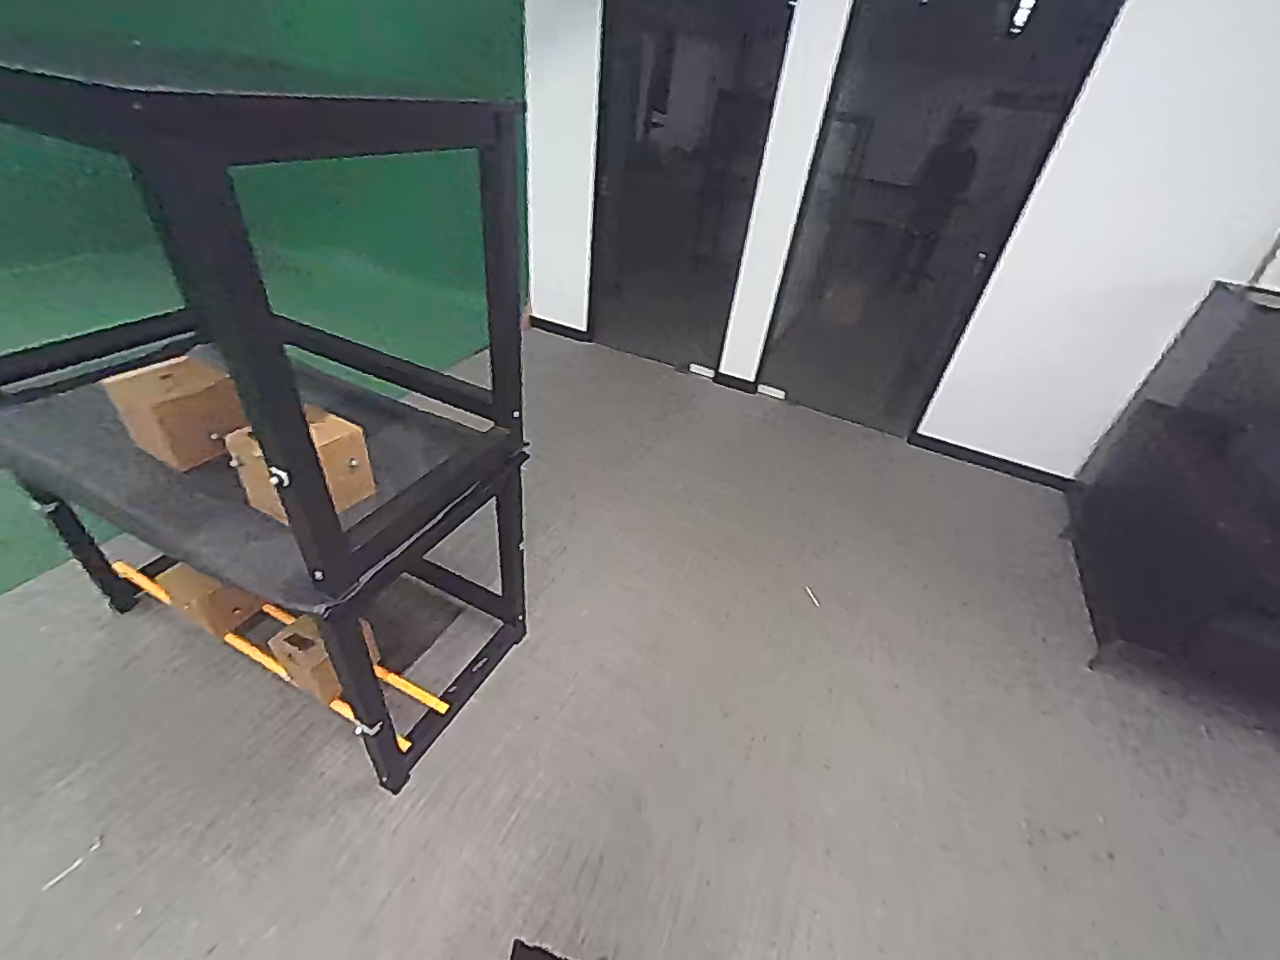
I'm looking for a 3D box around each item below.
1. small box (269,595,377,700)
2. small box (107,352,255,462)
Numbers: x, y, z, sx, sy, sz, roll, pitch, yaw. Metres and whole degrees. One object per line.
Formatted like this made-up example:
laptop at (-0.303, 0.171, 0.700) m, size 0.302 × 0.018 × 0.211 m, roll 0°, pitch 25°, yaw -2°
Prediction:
small box at (-0.845, 0.454, 1.460) m, size 0.168 × 0.176 × 0.179 m, roll 23°, pitch 40°, yaw 19°
small box at (-1.013, -0.162, 1.206) m, size 0.179 × 0.176 × 0.168 m, roll 23°, pitch 40°, yaw 19°
